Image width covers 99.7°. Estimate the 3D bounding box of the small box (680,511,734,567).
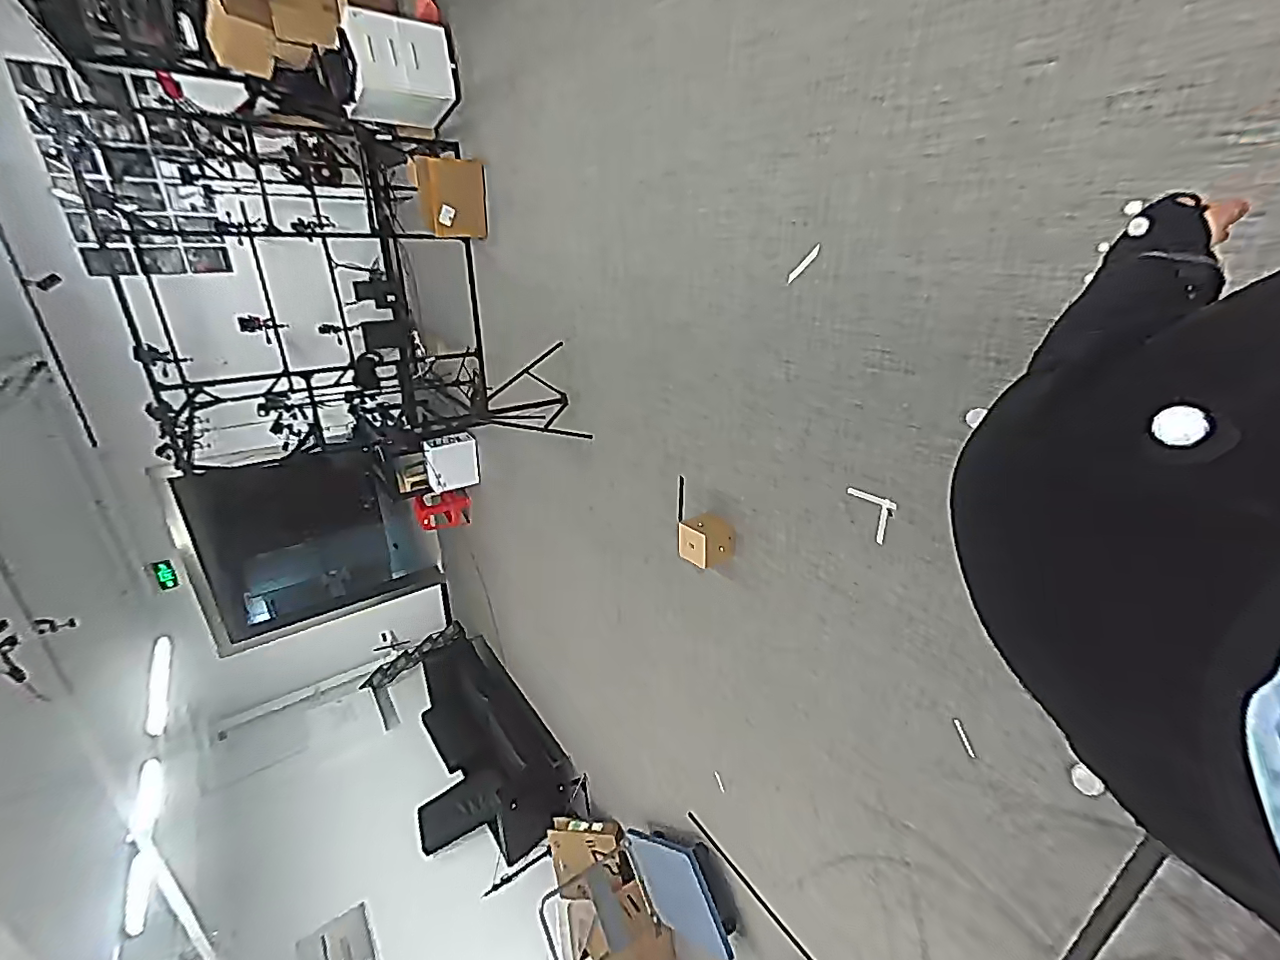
[{"bbox_3d":[0.295,0.251,2.369,0.179,0.176,0.168,26,124,50],"label":"small box"}]
